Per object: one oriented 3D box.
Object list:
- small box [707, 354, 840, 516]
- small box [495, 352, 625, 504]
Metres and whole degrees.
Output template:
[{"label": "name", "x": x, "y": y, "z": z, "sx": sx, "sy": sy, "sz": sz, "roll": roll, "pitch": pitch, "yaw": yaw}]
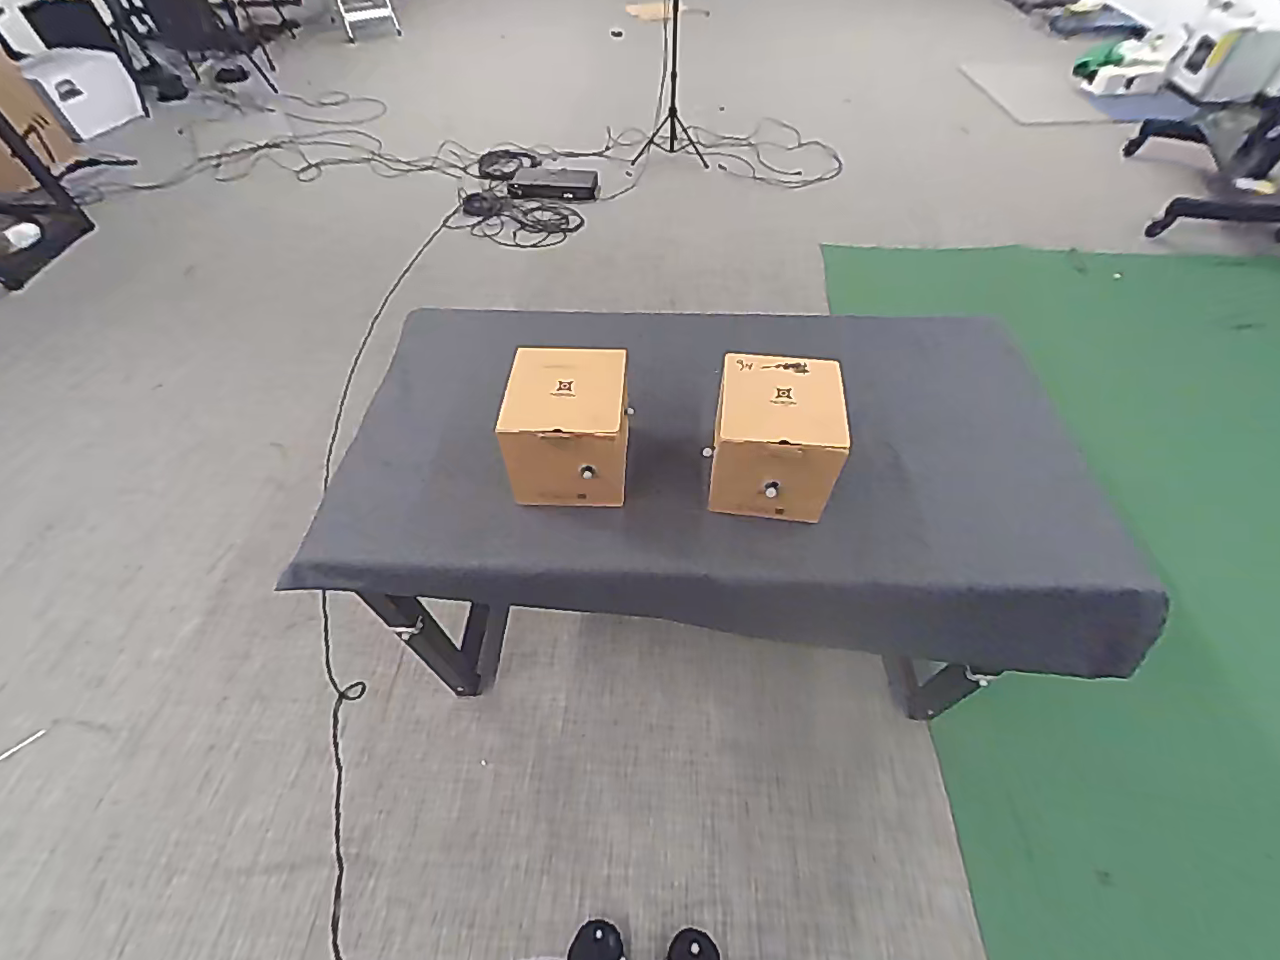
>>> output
[{"label": "small box", "x": 0.191, "y": -0.063, "z": 0.809, "sx": 0.168, "sy": 0.176, "sz": 0.179, "roll": 5, "pitch": 54, "yaw": 6}, {"label": "small box", "x": -0.110, "y": -0.077, "z": 0.831, "sx": 0.168, "sy": 0.176, "sz": 0.179, "roll": 1, "pitch": 51, "yaw": 1}]
